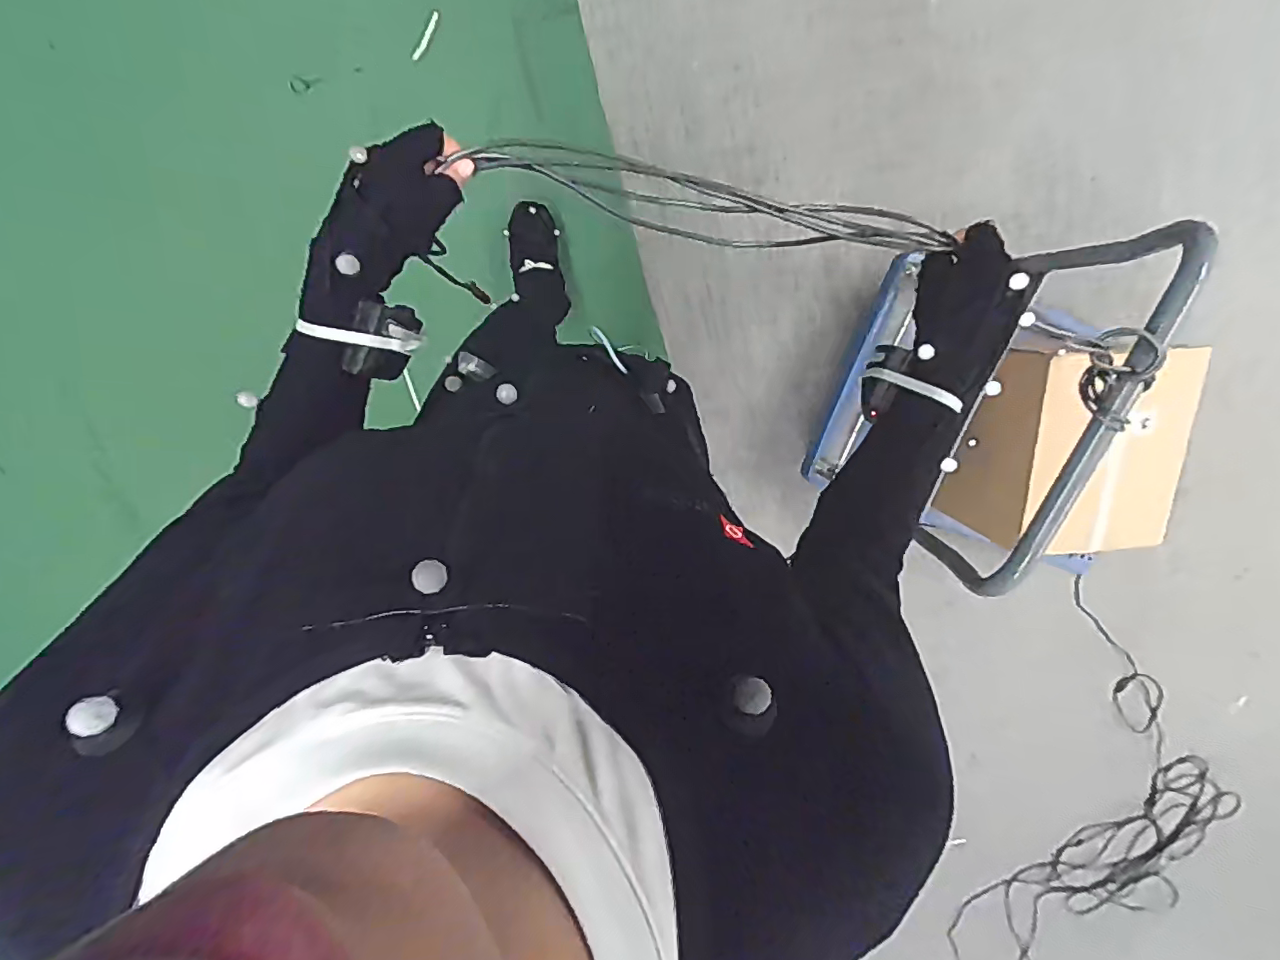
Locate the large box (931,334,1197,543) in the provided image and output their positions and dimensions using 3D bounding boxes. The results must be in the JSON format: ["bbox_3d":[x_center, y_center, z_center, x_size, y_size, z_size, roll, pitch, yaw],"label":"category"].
[{"bbox_3d":[0.898,-0.109,1.207,0.320,0.320,0.408,-3,107,-4],"label":"large box"}]
